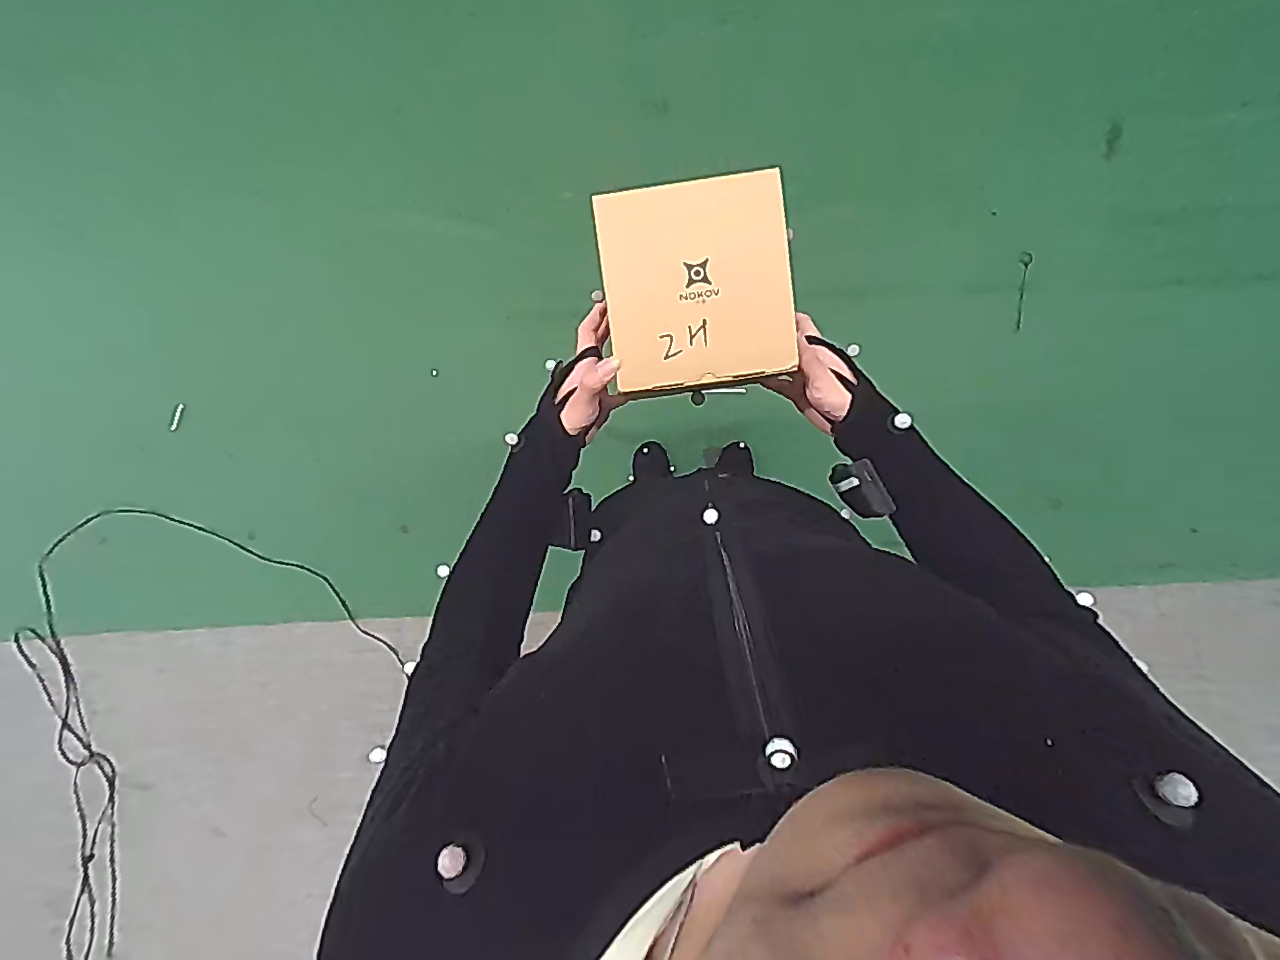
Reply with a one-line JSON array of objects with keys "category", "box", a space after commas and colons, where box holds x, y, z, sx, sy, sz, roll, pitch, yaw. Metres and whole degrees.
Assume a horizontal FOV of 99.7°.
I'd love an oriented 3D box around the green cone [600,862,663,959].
[{"category": "green cone", "box": [-0.036, 1.340, 1.574, 0.202, 0.368, 0.200, -2, 94, 3]}]
